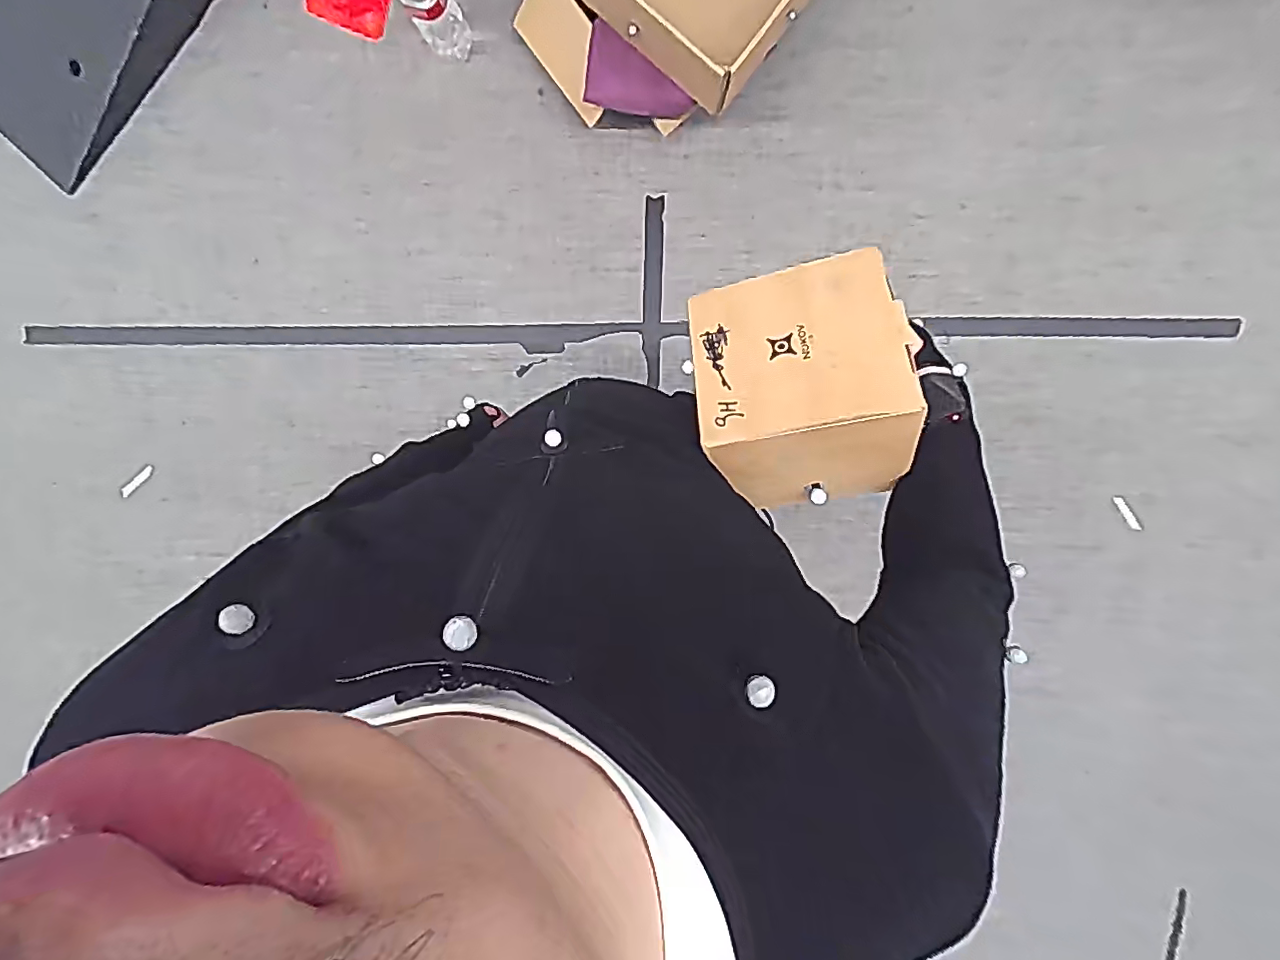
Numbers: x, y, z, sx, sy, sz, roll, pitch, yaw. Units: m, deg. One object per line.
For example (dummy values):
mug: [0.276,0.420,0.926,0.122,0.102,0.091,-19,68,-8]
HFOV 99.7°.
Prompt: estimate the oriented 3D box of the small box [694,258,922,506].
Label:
small box: [0.161,-0.085,0.548,0.179,0.176,0.168,-10,64,16]
